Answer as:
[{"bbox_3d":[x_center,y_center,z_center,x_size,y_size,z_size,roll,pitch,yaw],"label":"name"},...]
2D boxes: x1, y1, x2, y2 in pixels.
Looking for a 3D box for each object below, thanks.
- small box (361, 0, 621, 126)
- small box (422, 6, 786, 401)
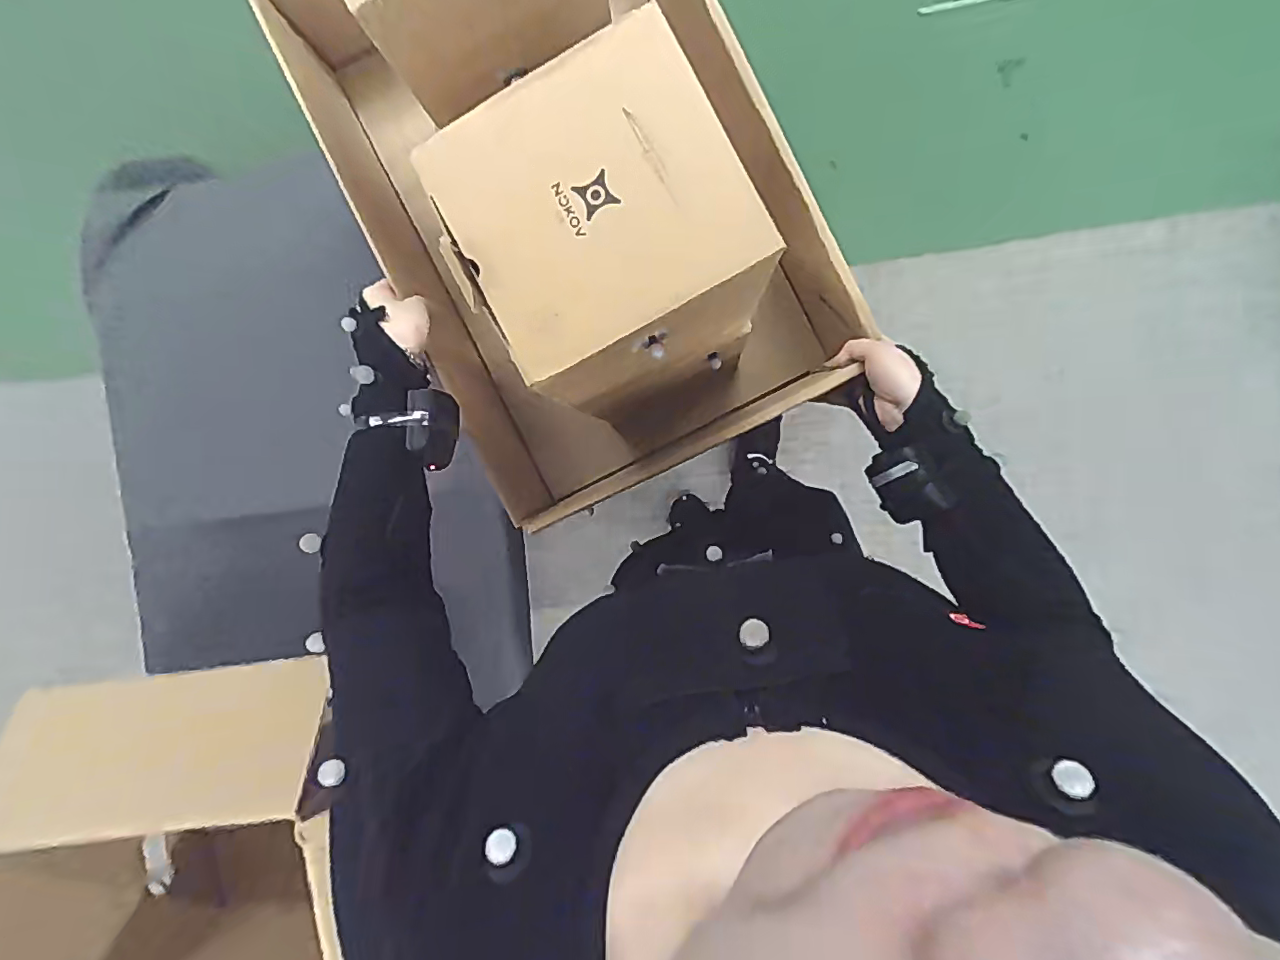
[{"bbox_3d":[-0.125,-0.402,0.399,0.168,0.176,0.179,-25,93,6],"label":"small box"},{"bbox_3d":[-0.018,-0.172,0.405,0.179,0.176,0.168,-27,90,4],"label":"small box"}]
